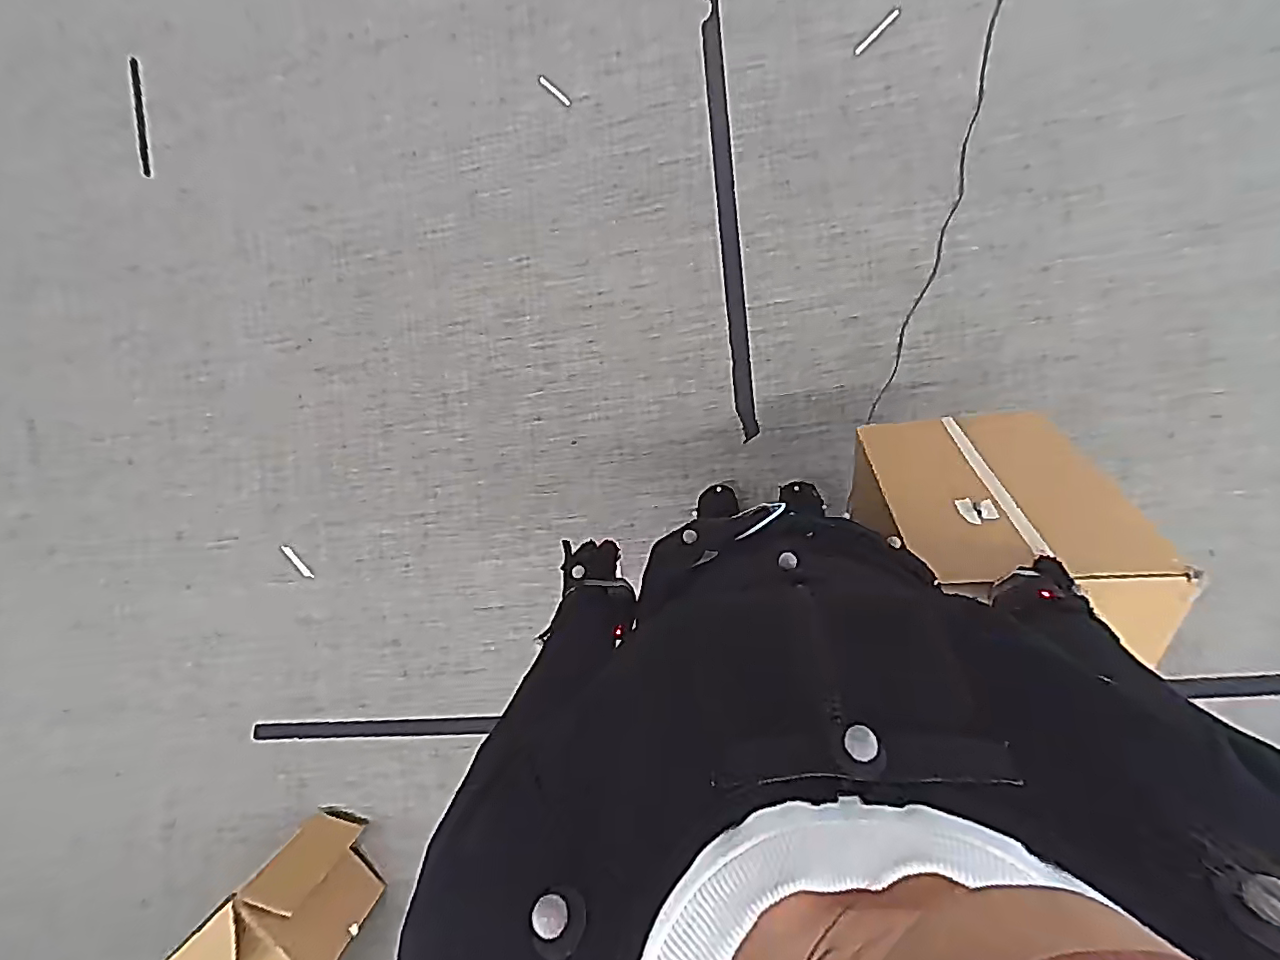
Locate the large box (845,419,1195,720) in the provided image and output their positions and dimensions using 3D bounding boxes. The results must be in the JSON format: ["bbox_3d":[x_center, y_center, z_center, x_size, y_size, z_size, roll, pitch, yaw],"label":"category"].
[{"bbox_3d":[0.556,0.137,0.914,0.320,0.408,0.320,-5,126,11],"label":"large box"}]
